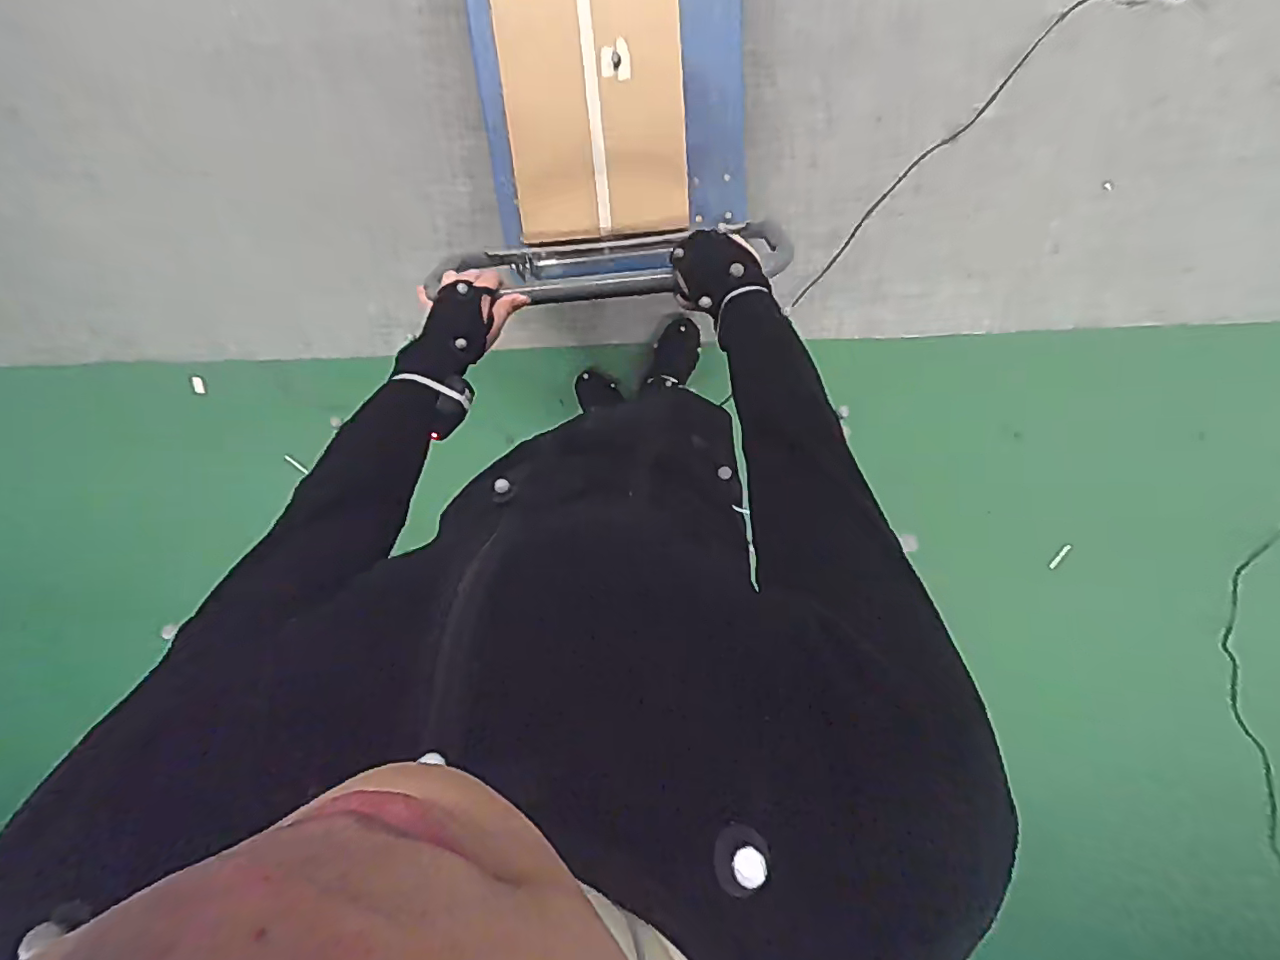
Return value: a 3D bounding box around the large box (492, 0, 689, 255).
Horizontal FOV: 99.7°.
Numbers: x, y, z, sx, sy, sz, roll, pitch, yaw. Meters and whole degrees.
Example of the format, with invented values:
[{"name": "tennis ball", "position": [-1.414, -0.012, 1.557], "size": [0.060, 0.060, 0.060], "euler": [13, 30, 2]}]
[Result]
[{"name": "large box", "position": [-0.074, -0.698, 1.098], "size": [0.320, 0.320, 0.408], "euler": [-4, 108, 3]}]
